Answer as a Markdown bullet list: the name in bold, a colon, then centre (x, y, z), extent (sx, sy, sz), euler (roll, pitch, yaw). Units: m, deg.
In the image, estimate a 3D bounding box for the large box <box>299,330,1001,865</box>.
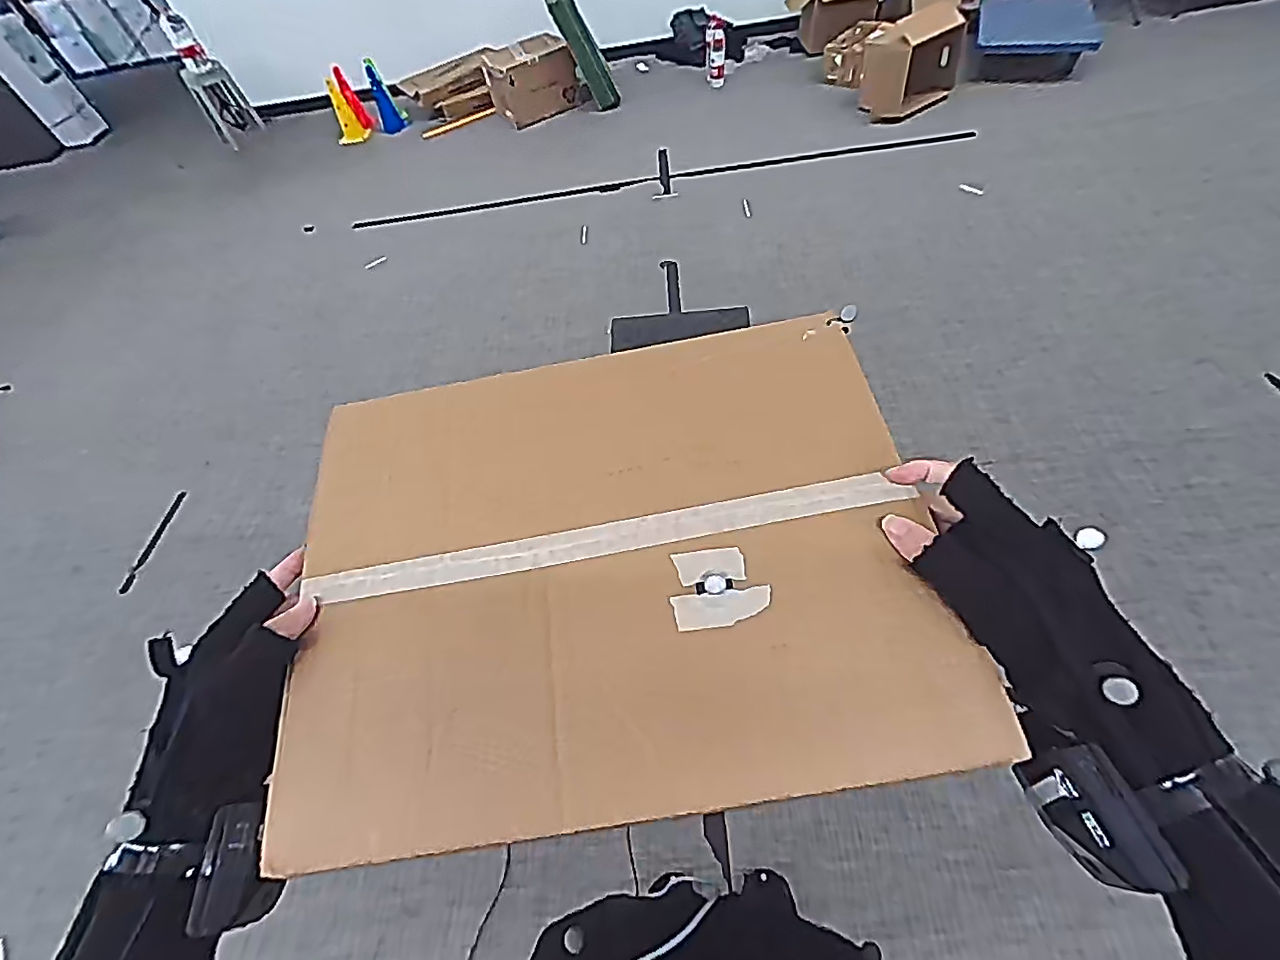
- **large box**: centre (-0.004, 0.116, 0.498), extent (0.408, 0.320, 0.320), euler (-10, 62, 2)
